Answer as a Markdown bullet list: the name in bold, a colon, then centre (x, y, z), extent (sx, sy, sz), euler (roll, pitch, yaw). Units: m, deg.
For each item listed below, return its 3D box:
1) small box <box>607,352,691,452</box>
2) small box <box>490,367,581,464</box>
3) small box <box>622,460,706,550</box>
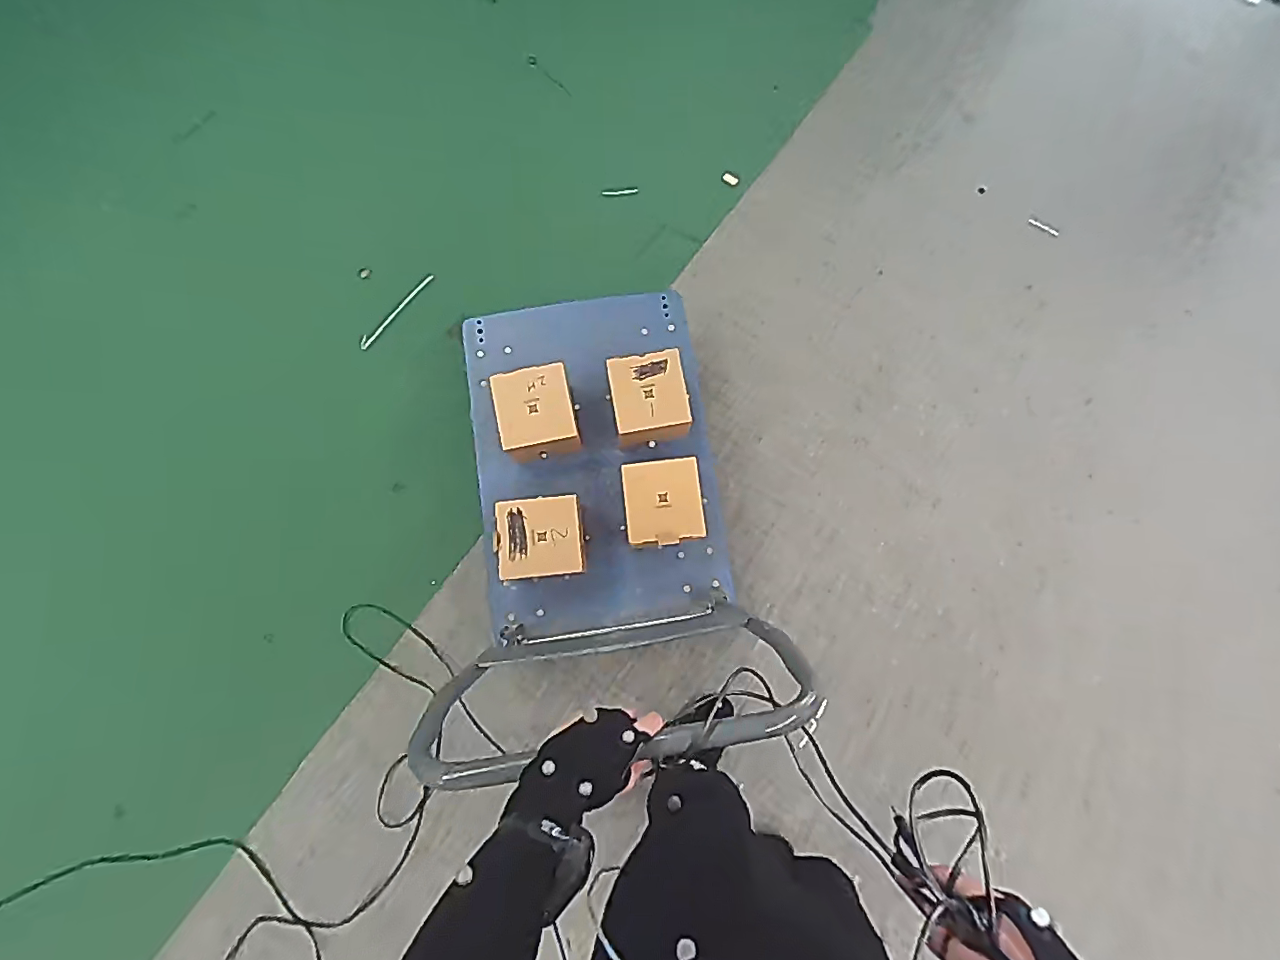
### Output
- **small box**: centre (0.017, -0.178, 1.268), extent (0.168, 0.176, 0.179), euler (-10, 82, -2)
- **small box**: centre (-0.236, -0.141, 1.258), extent (0.168, 0.176, 0.179), euler (-12, 81, -4)
- **small box**: centre (0.048, 0.062, 1.230), extent (0.168, 0.176, 0.179), euler (-7, 81, -2)
